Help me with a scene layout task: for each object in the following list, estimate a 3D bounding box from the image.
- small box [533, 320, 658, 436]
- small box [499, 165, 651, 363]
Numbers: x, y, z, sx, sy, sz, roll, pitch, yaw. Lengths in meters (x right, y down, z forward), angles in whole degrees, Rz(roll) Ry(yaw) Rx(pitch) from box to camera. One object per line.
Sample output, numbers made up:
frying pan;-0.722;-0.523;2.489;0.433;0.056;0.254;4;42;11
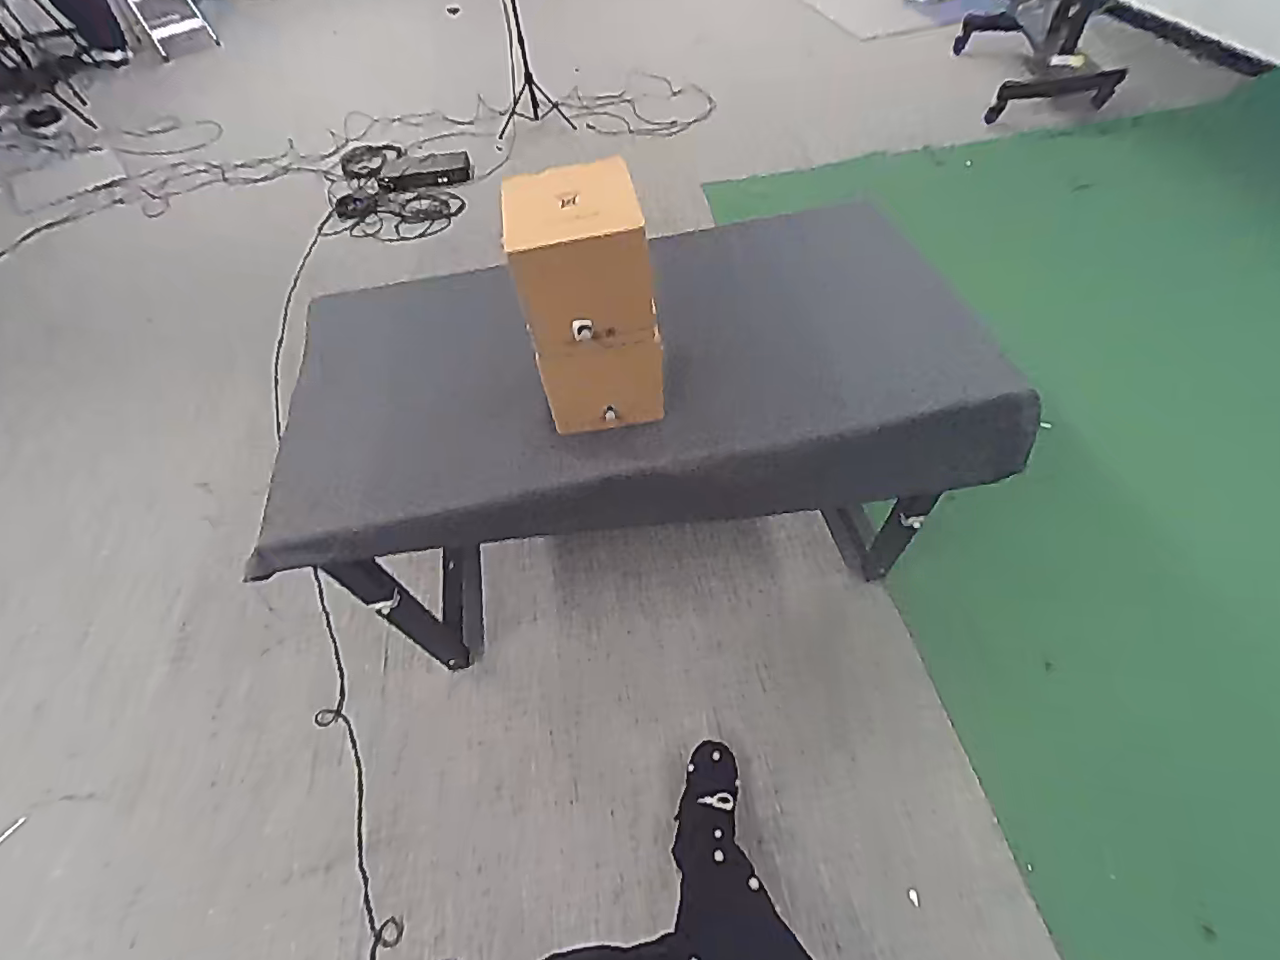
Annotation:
small box;-0.069;-0.191;0.861;0.179;0.176;0.168;-9;54;-3
small box;-0.085;-0.287;0.730;0.168;0.176;0.179;-13;55;-2
